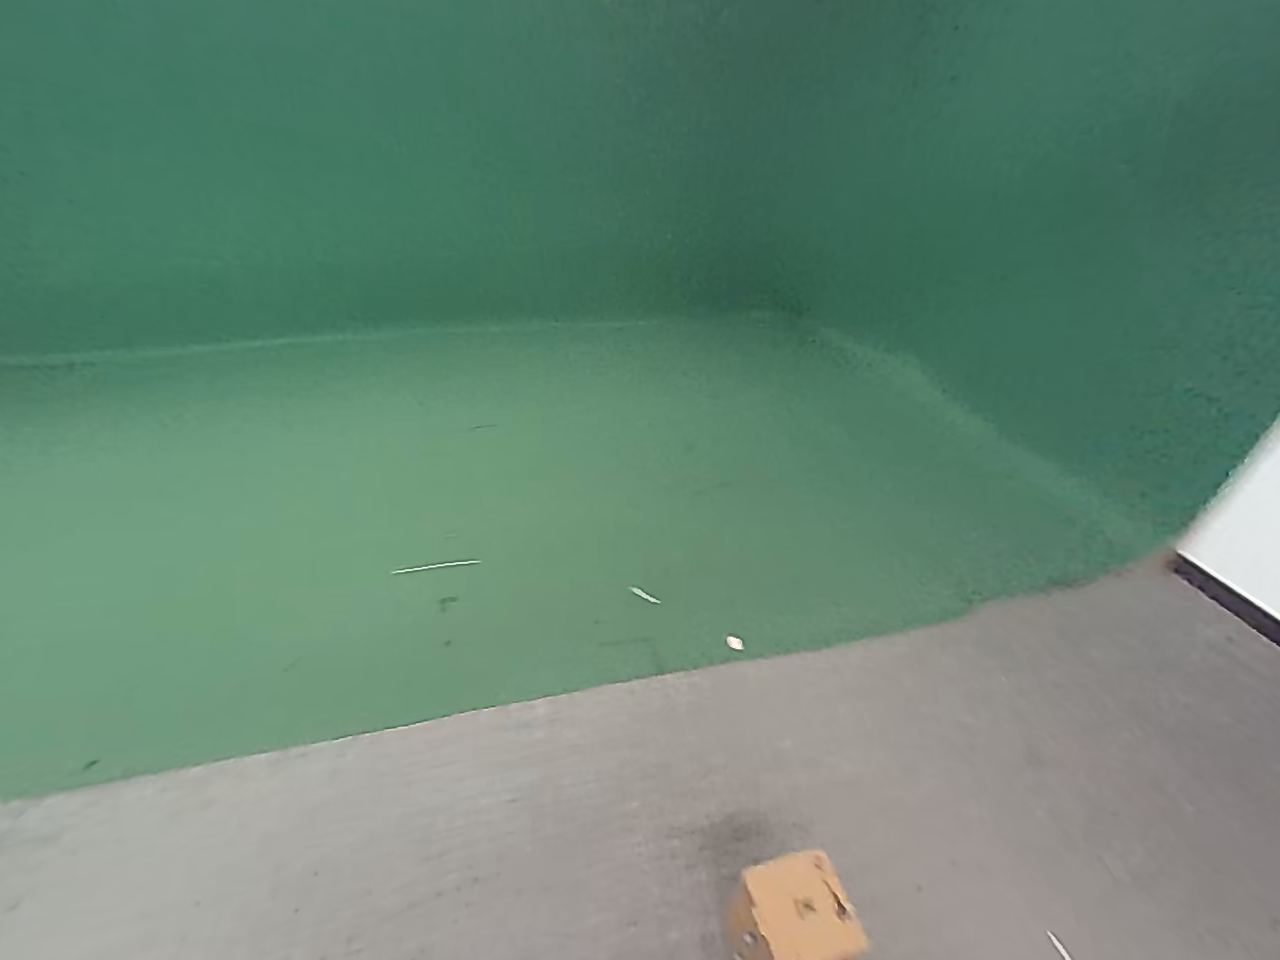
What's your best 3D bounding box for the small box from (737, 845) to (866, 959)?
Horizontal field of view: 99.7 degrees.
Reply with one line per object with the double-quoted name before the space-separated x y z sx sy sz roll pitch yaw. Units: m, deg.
"small box" 0.296 0.846 1.039 0.179 0.176 0.168 -8 38 -12
